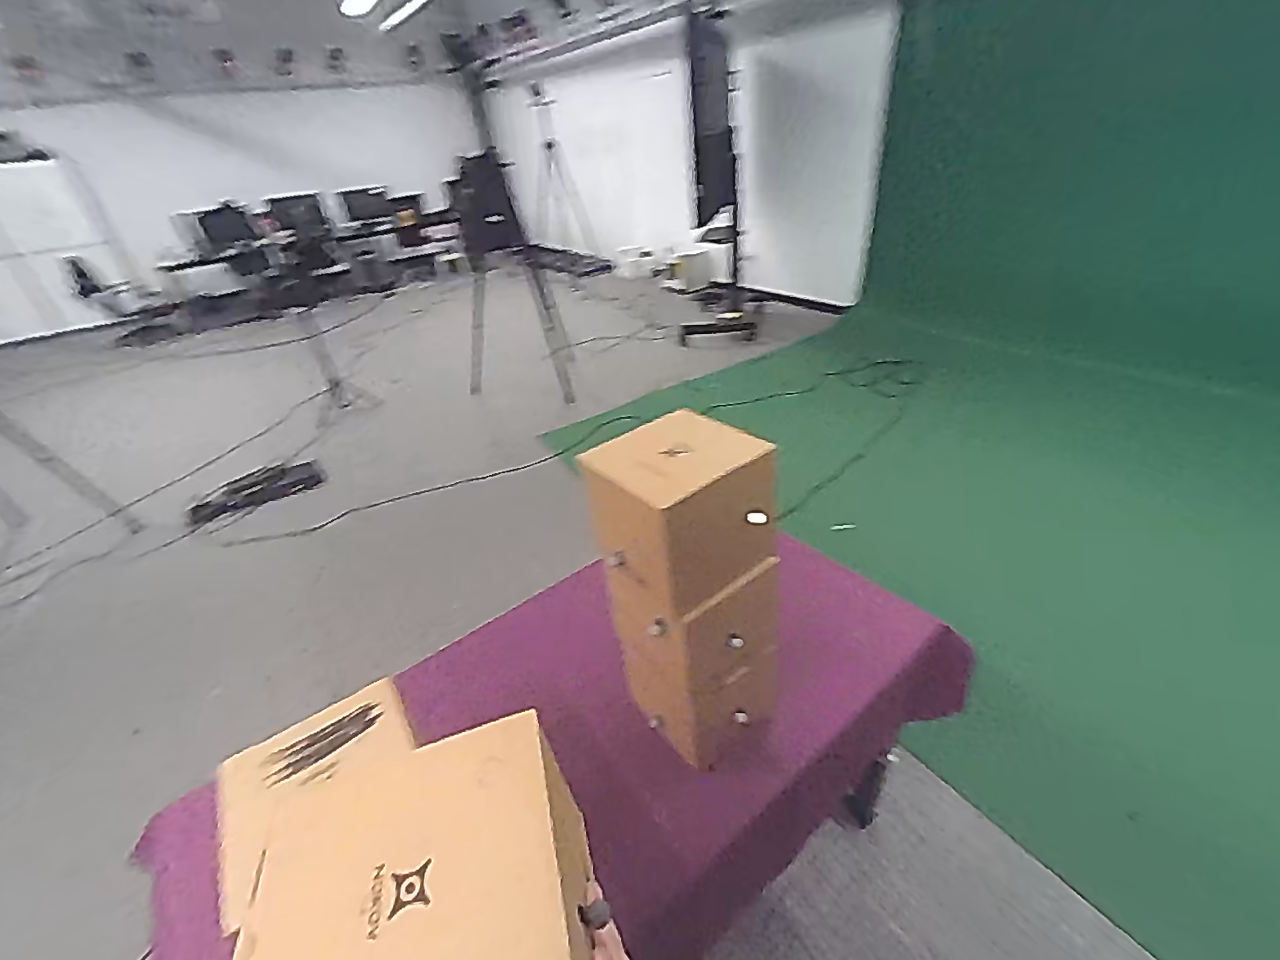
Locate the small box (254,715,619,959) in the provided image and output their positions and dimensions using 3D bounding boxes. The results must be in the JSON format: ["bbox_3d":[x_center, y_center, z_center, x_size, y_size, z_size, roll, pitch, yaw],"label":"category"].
[{"bbox_3d":[-0.112,0.292,0.348,0.179,0.176,0.168,-17,37,-7],"label":"small box"}]

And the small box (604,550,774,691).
[{"bbox_3d":[0.070,0.169,0.773,0.168,0.176,0.179,-26,38,-28],"label":"small box"}]

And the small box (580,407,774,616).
[{"bbox_3d":[0.048,0.033,0.685,0.179,0.176,0.168,-28,38,-27],"label":"small box"}]

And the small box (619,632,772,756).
[{"bbox_3d":[0.089,0.305,0.866,0.168,0.176,0.179,-26,39,-28],"label":"small box"}]
